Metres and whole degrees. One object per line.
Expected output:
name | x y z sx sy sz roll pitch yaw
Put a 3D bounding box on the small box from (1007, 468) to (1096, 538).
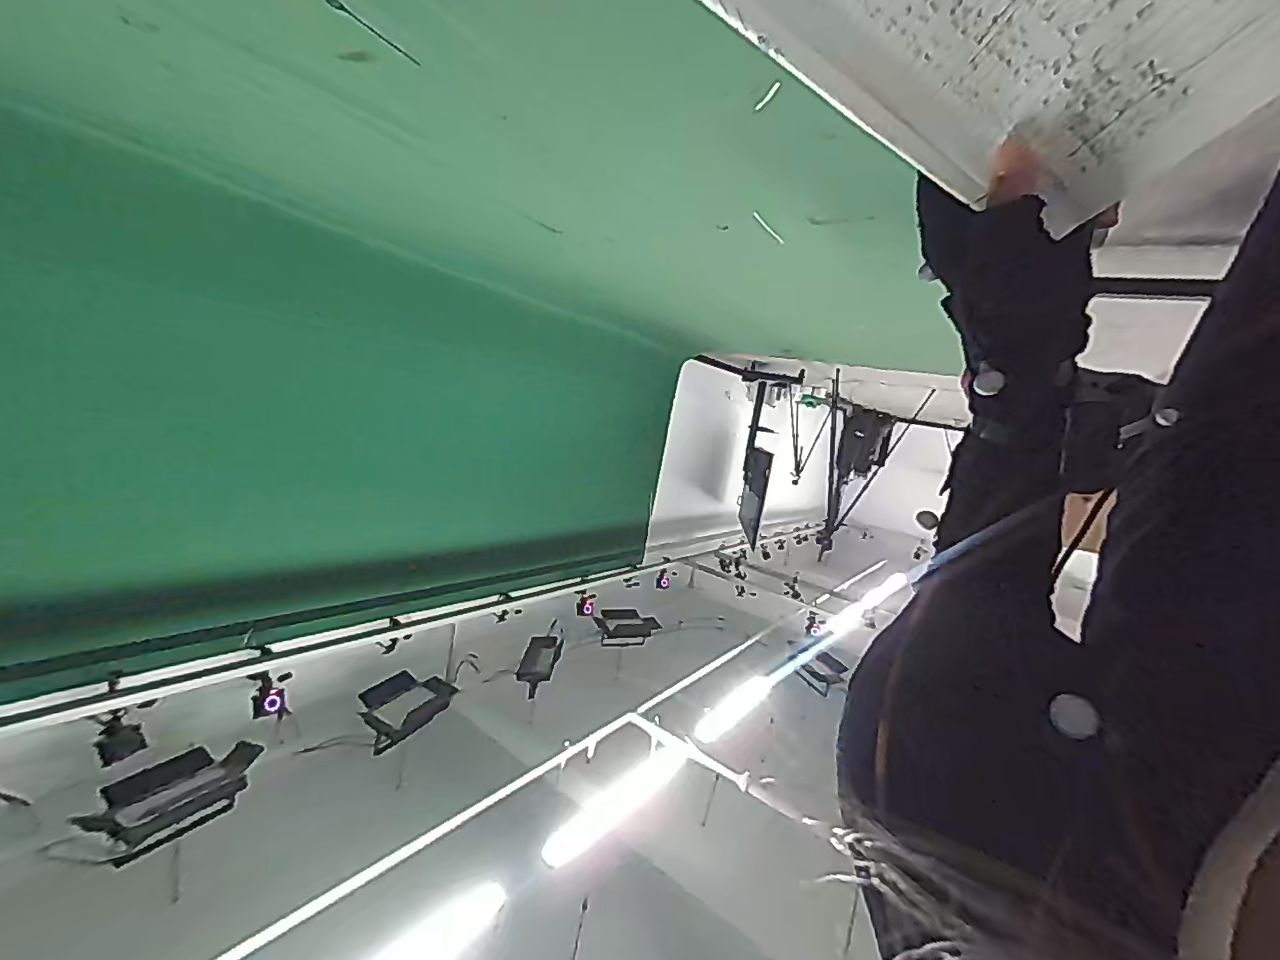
small box | 1.233 0.062 1.625 0.168 0.176 0.179 13 -171 27
